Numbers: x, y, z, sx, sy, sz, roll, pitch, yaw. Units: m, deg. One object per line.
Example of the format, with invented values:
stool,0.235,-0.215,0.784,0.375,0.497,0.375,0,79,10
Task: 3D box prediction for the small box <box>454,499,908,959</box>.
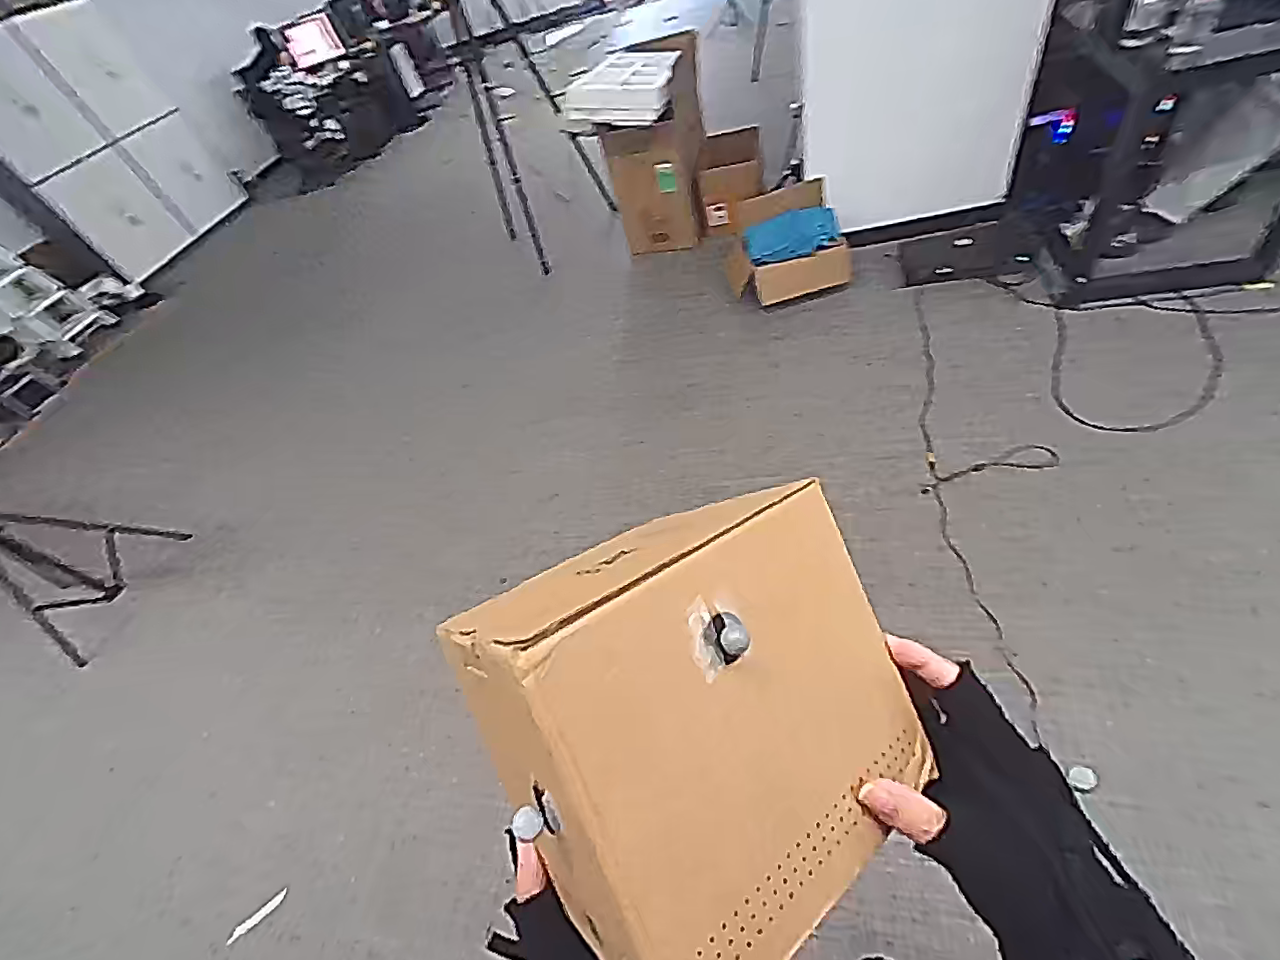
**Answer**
small box,0.018,0.132,0.316,0.179,0.176,0.168,-23,-1,-30
